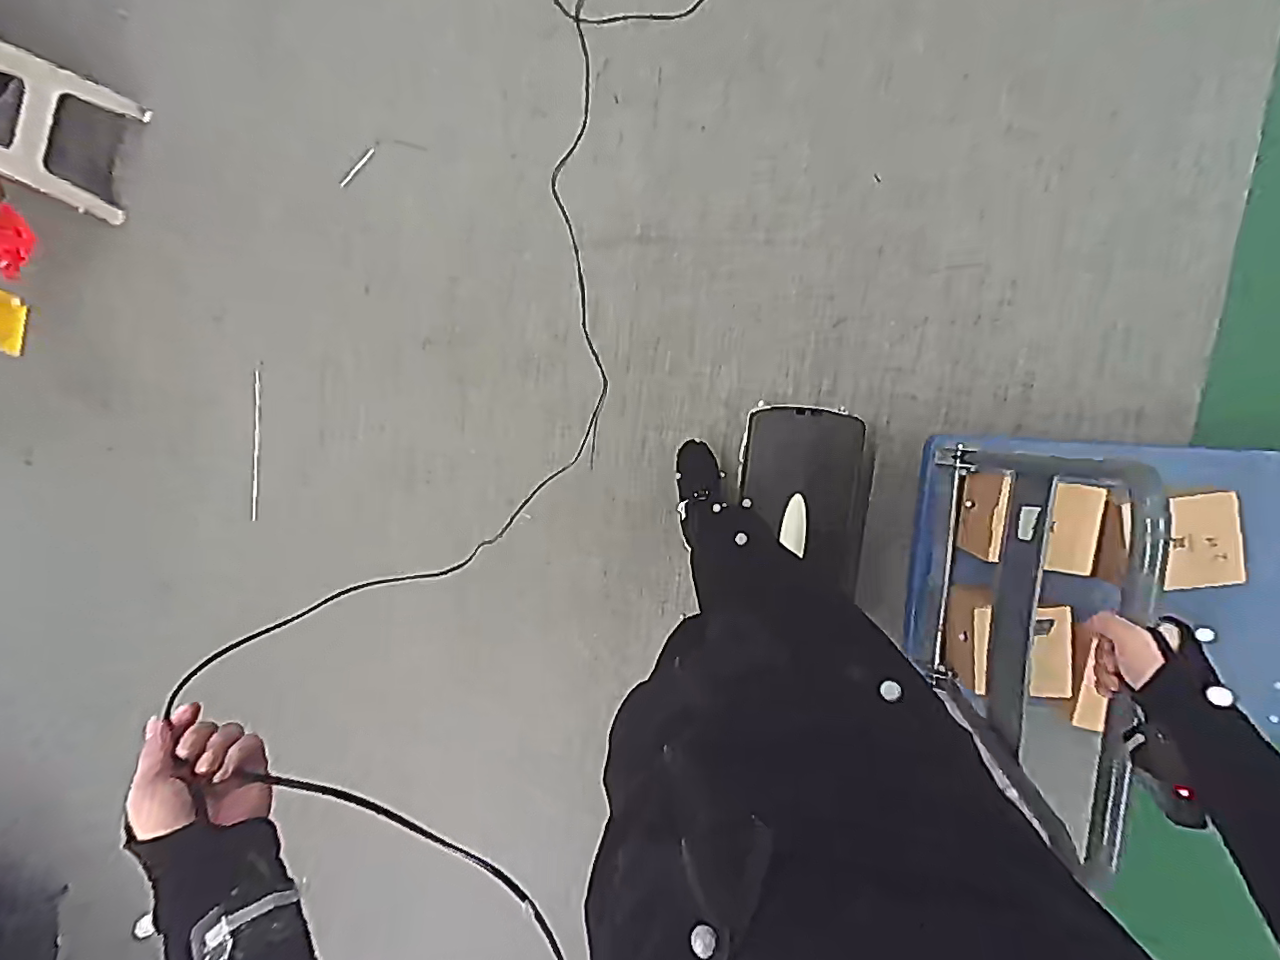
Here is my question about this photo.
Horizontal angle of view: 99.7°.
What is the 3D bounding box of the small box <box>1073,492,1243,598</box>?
[{"bbox_3d":[0.967,0.118,1.030,0.179,0.176,0.168,-8,92,12],"label":"small box"}]
